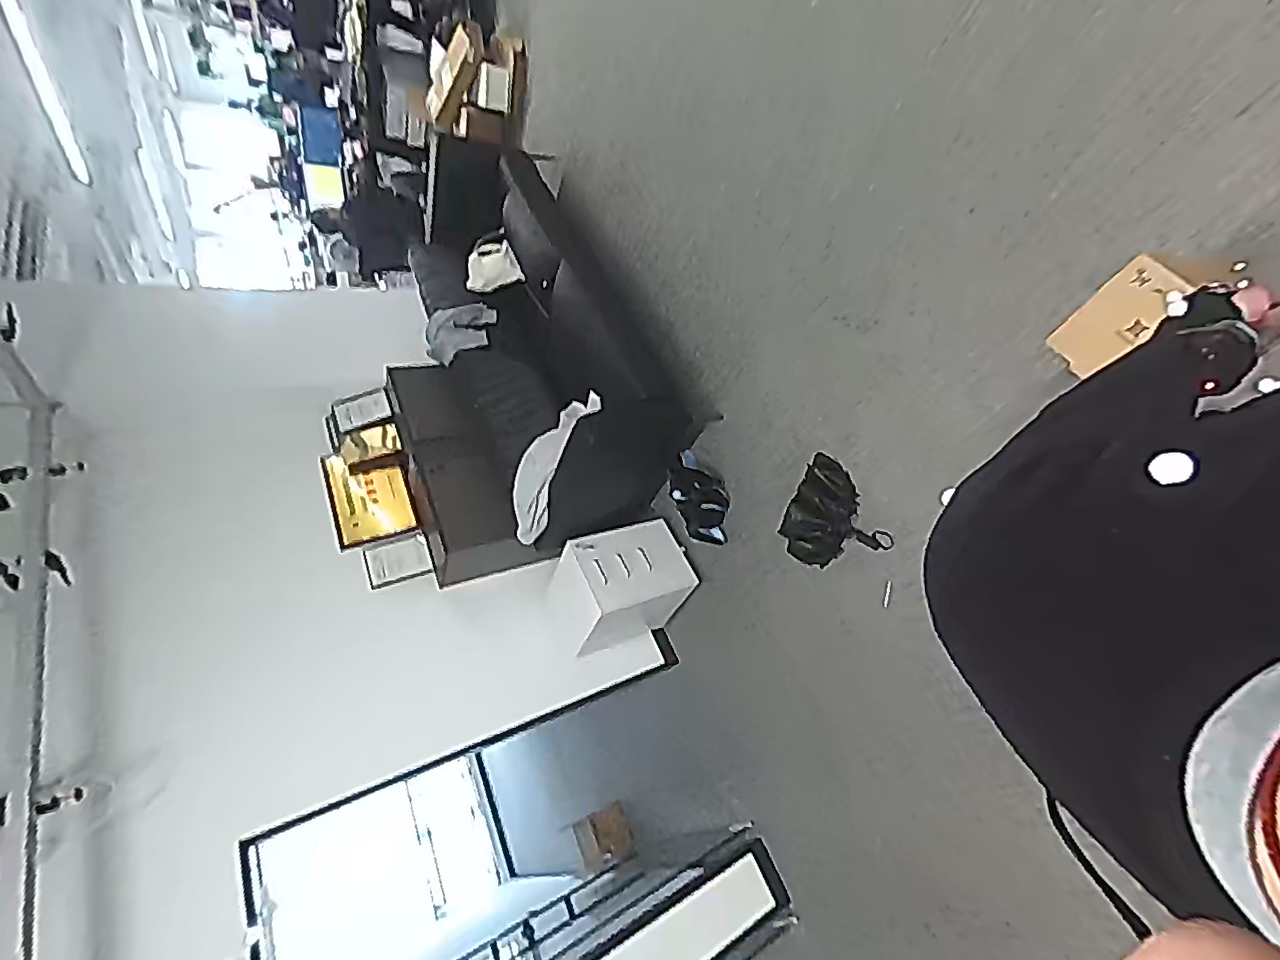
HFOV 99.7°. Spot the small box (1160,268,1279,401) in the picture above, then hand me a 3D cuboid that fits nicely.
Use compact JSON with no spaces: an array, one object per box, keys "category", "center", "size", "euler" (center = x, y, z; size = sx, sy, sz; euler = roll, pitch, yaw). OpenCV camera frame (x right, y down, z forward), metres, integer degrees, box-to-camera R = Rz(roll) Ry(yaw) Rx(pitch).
[{"category":"small box","center":[0.972,-0.263,0.967],"size":[0.179,0.176,0.168],"euler":[60,145,28]}]

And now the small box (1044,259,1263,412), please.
[{"category":"small box","center":[0.834,-0.235,0.885],"size":[0.168,0.176,0.179],"euler":[61,146,27]}]

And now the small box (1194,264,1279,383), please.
[{"category":"small box","center":[1.109,-0.297,1.052],"size":[0.179,0.176,0.168],"euler":[59,145,28]}]
